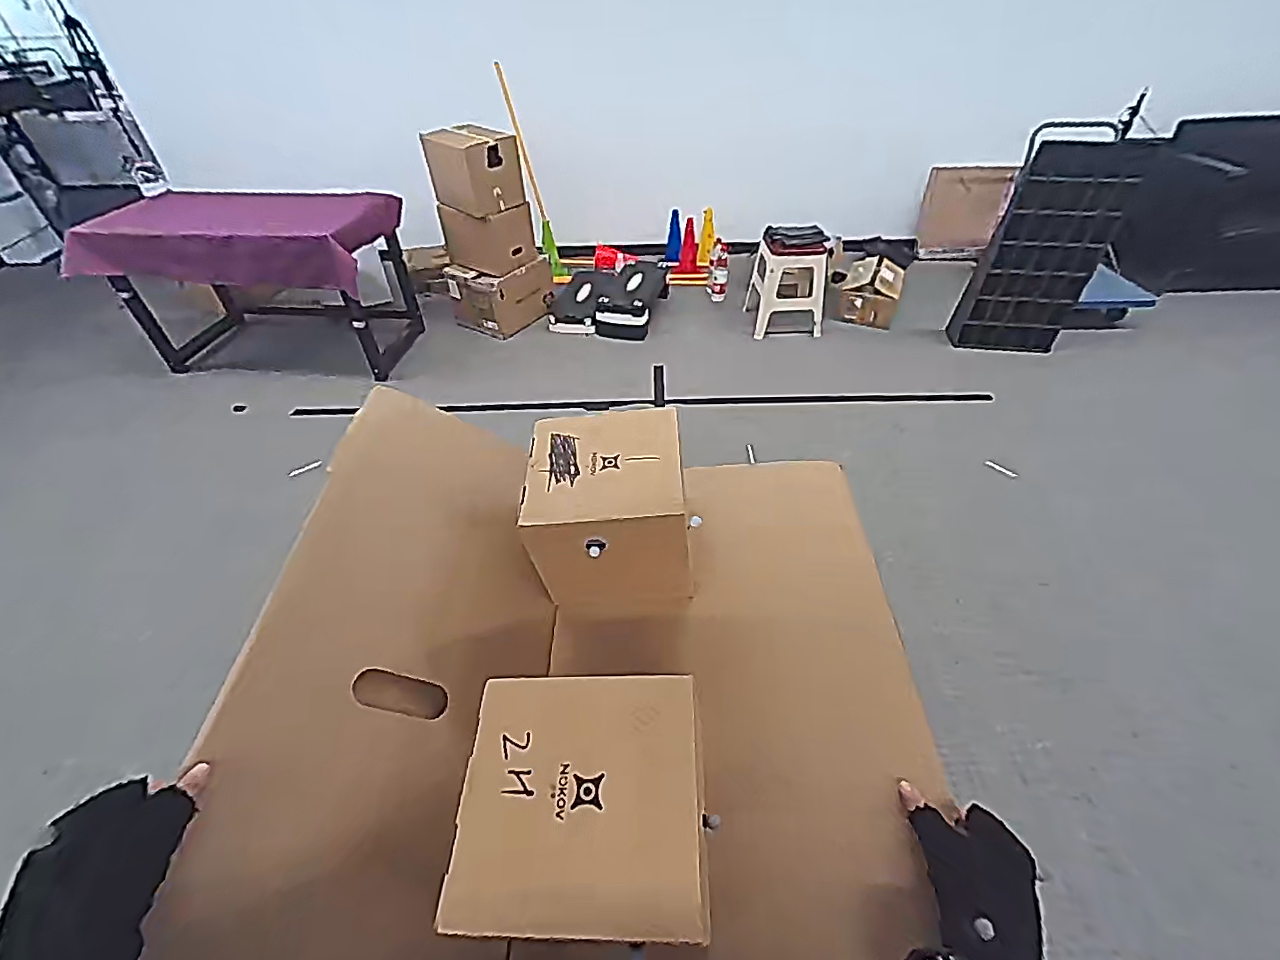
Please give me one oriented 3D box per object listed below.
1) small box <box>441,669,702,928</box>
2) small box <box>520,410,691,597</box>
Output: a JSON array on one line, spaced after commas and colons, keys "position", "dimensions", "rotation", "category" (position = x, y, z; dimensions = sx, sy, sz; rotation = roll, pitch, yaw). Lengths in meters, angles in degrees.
[{"position": [-0.036, 0.275, 0.467], "dimensions": [0.179, 0.176, 0.168], "rotation": [-3, 49, 7], "category": "small box"}, {"position": [-0.032, 0.035, 0.678], "dimensions": [0.179, 0.176, 0.168], "rotation": [-4, 49, 5], "category": "small box"}]
